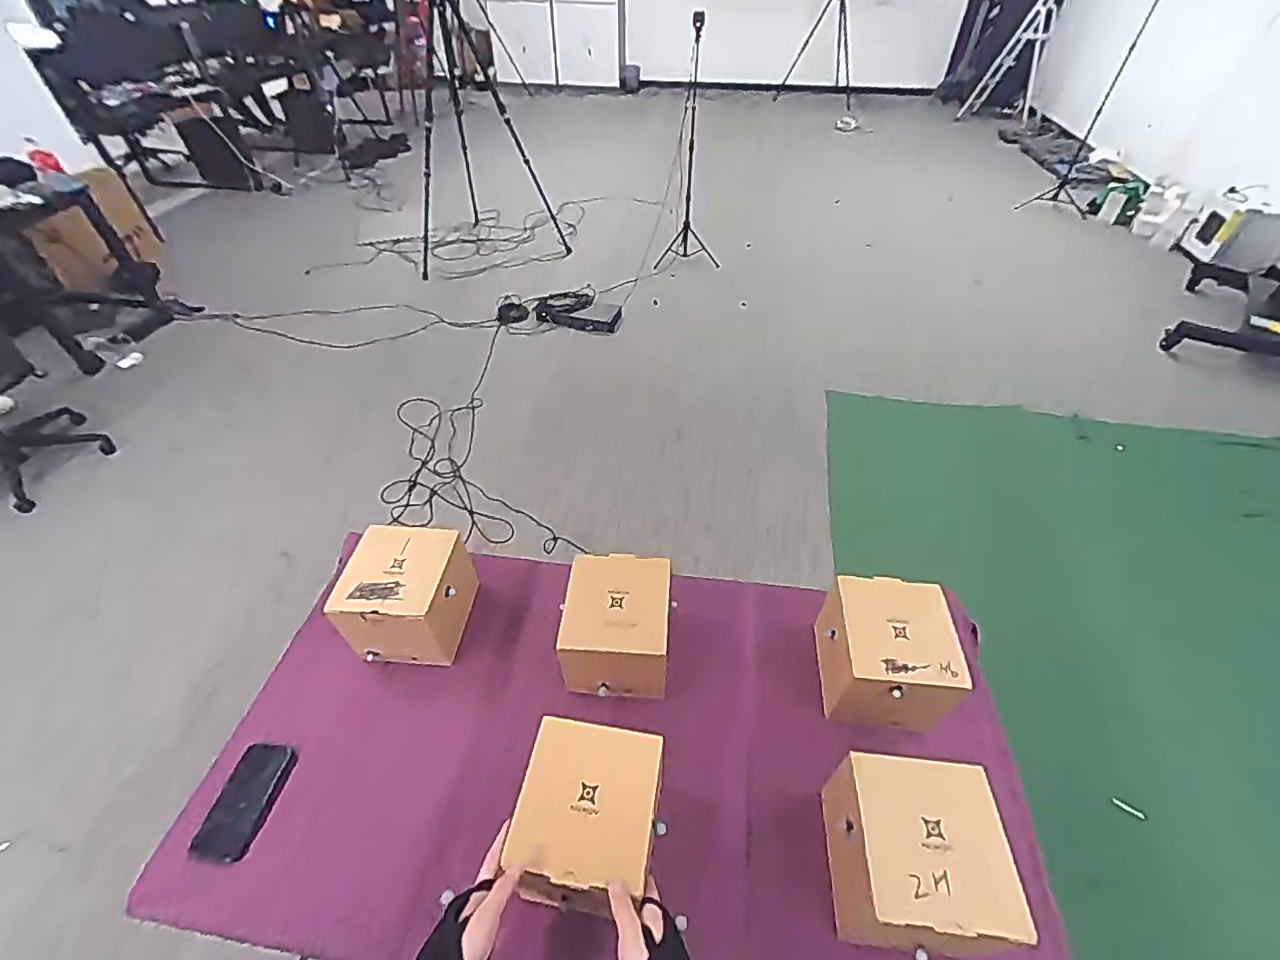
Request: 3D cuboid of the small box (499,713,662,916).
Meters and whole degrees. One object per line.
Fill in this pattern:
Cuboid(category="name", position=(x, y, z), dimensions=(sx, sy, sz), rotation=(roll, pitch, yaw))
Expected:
Cuboid(category="small box", position=(-0.068, 0.438, 0.710), dimensions=(0.168, 0.176, 0.179), rotation=(7, 45, 6))

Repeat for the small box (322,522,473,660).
Cuboid(category="small box", position=(-0.406, 0.196, 0.945), dimensions=(0.168, 0.176, 0.179), rotation=(4, 45, 3))

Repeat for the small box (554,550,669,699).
Cuboid(category="small box", position=(-0.040, 0.241, 0.906), dimensions=(0.168, 0.176, 0.179), rotation=(3, 46, 4))

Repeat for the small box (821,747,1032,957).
Cuboid(category="small box", position=(0.336, 0.466, 0.681), dimensions=(0.168, 0.176, 0.179), rotation=(5, 45, 5))

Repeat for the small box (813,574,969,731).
Cuboid(category="small box", position=(0.387, 0.277, 0.872), dimensions=(0.168, 0.176, 0.179), rotation=(4, 45, 5))
